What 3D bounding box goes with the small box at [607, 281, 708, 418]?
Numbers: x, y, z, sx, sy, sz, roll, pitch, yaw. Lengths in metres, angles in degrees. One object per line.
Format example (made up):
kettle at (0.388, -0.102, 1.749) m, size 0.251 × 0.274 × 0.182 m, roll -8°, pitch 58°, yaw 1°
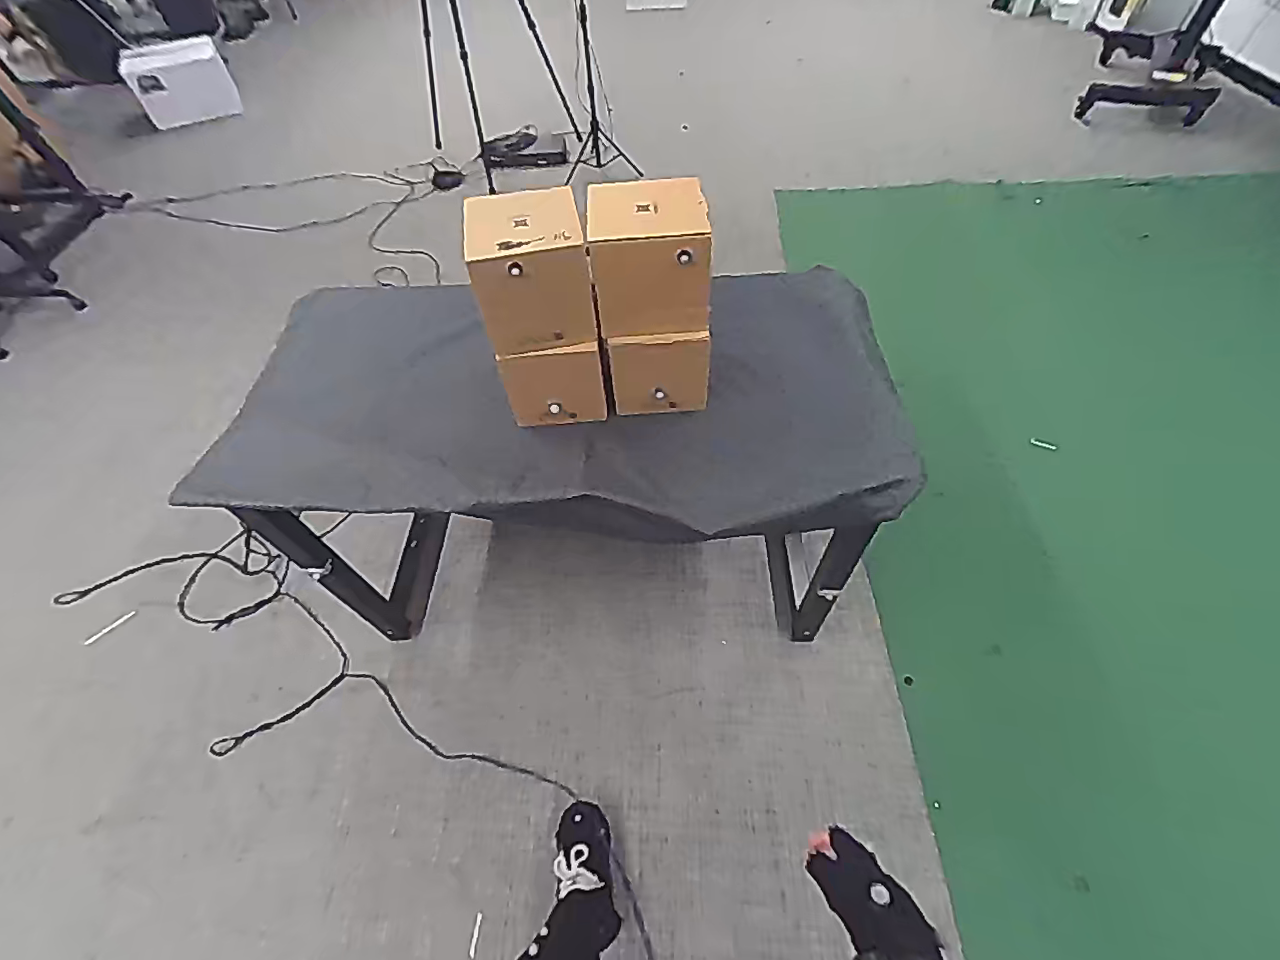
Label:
small box at (0.030, -0.234, 0.976) m, size 0.168 × 0.176 × 0.179 m, roll -3°, pitch 53°, yaw 2°
